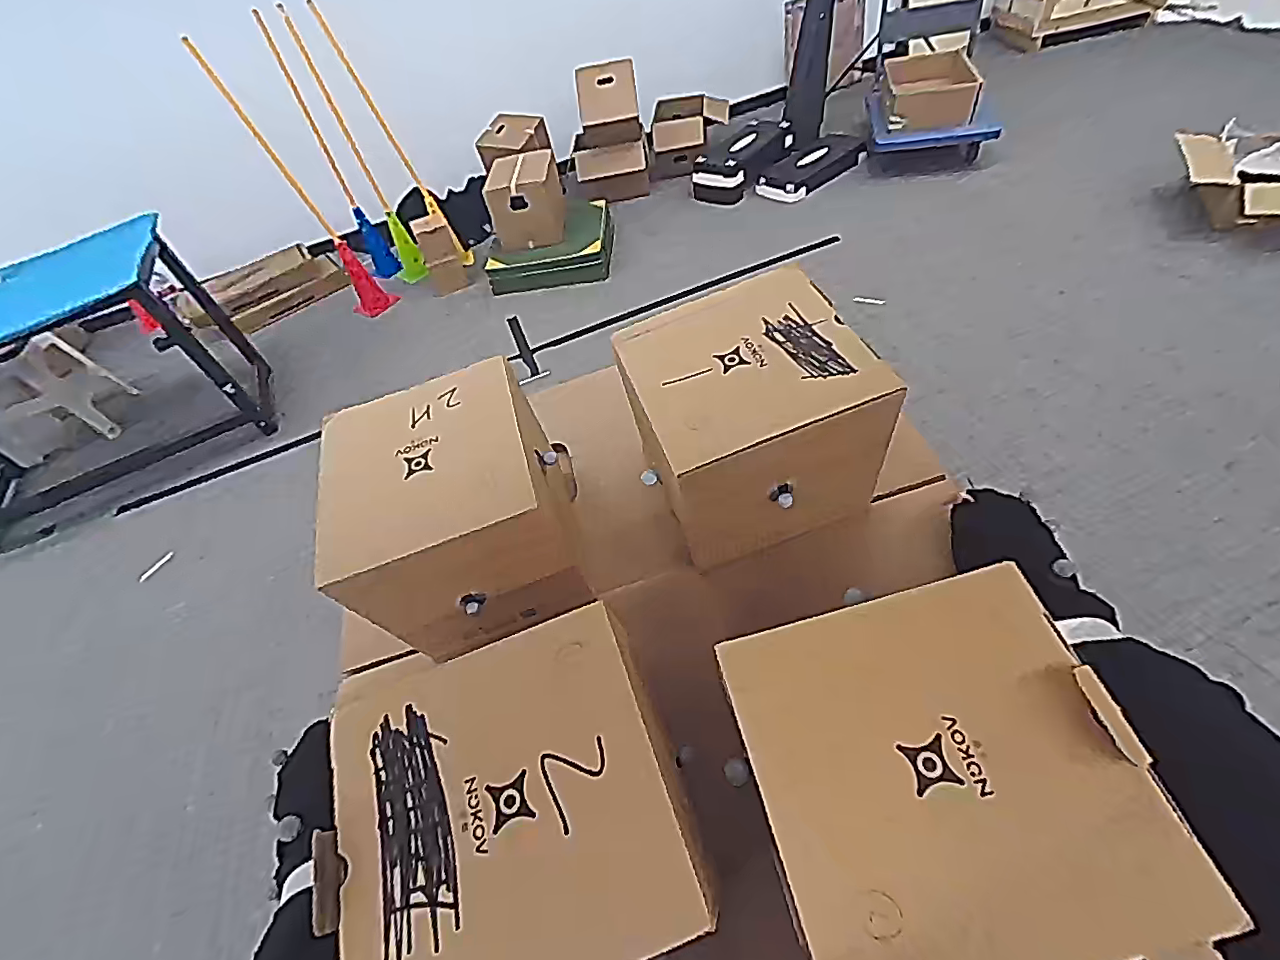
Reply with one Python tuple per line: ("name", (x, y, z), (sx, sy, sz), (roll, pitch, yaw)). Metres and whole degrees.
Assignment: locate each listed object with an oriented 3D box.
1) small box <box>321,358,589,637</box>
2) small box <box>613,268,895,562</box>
("small box", (-0.157, 0.027, 0.496), (0.168, 0.176, 0.179), (-19, 54, -1))
("small box", (0.092, -0.051, 0.490), (0.179, 0.176, 0.168), (-20, 55, 0))
